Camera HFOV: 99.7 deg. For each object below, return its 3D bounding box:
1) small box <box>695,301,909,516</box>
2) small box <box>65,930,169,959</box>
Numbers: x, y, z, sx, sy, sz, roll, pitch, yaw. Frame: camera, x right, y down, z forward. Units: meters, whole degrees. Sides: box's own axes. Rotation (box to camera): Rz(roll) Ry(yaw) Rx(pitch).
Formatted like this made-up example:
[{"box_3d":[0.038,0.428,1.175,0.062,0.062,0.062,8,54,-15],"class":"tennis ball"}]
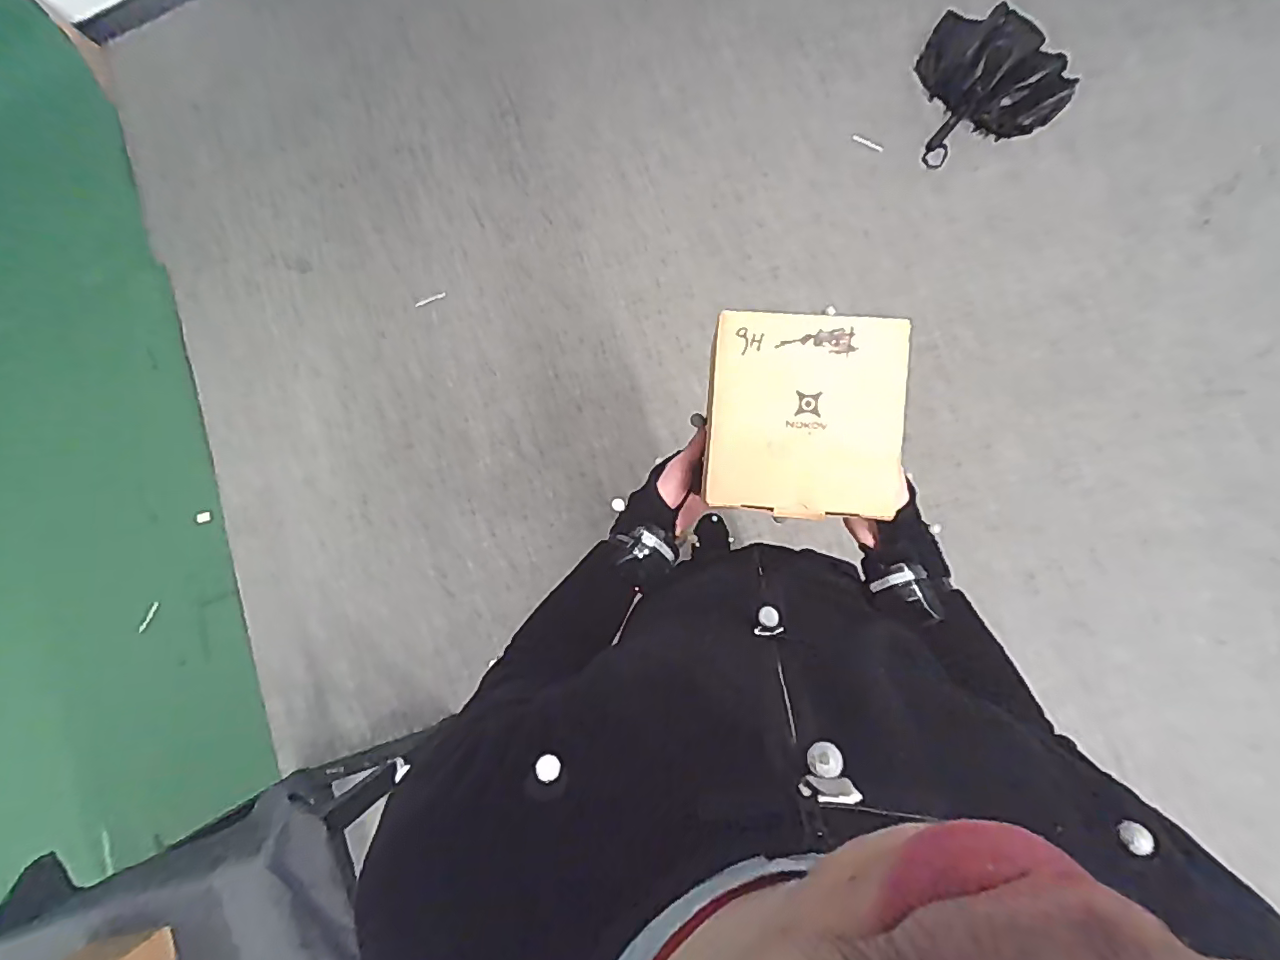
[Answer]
[{"box_3d":[0.145,-0.064,0.544,0.168,0.176,0.179,4,91,3],"class":"small box"},{"box_3d":[-0.862,0.839,0.825,0.179,0.176,0.168,-18,82,7],"class":"small box"}]
